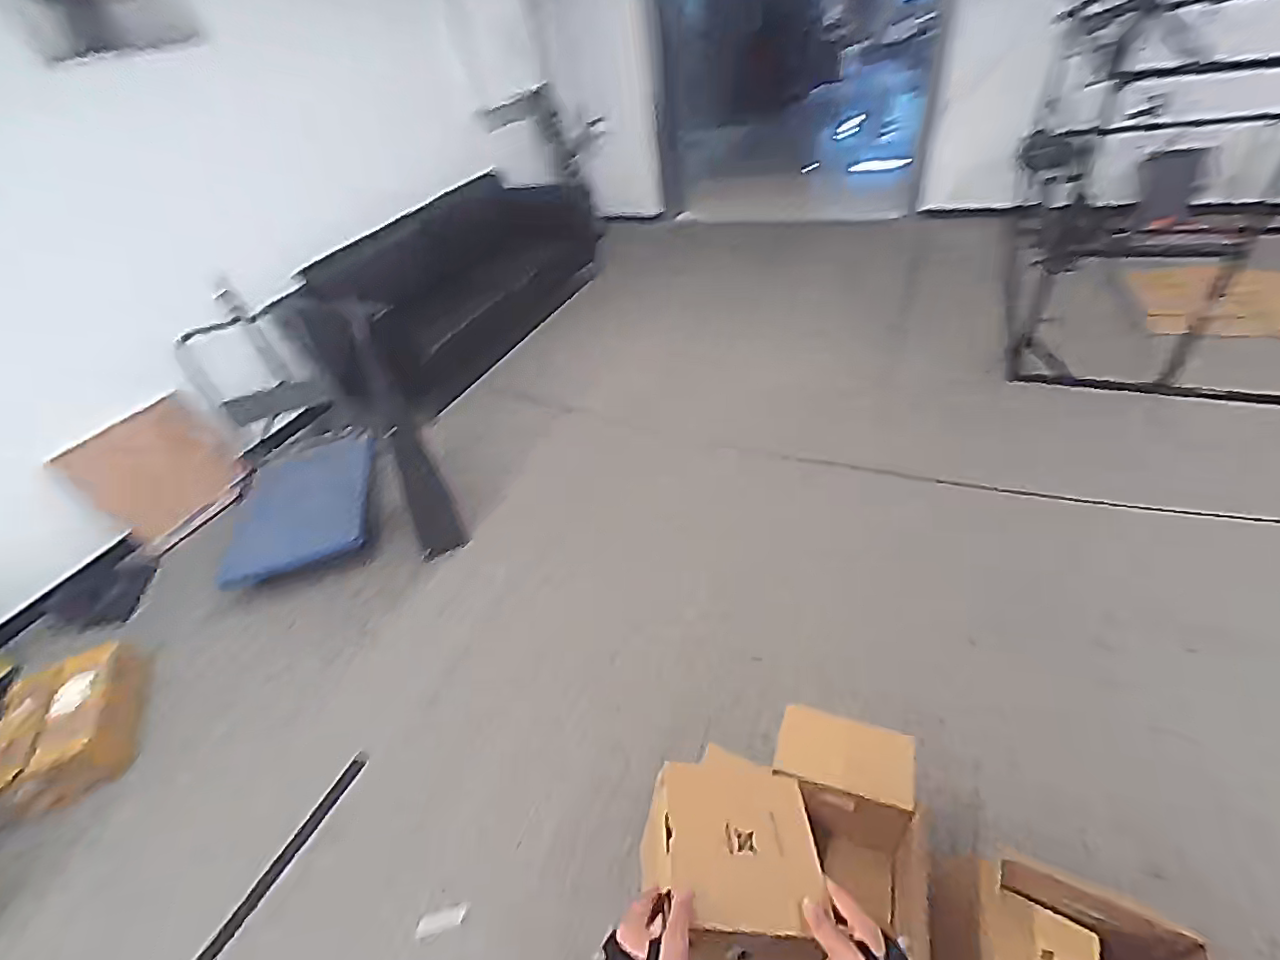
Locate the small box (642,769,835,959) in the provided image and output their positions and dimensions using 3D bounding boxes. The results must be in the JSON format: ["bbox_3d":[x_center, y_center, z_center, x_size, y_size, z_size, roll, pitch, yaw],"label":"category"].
[{"bbox_3d":[0.096,0.468,0.628,0.179,0.176,0.168,6,29,-5],"label":"small box"}]
